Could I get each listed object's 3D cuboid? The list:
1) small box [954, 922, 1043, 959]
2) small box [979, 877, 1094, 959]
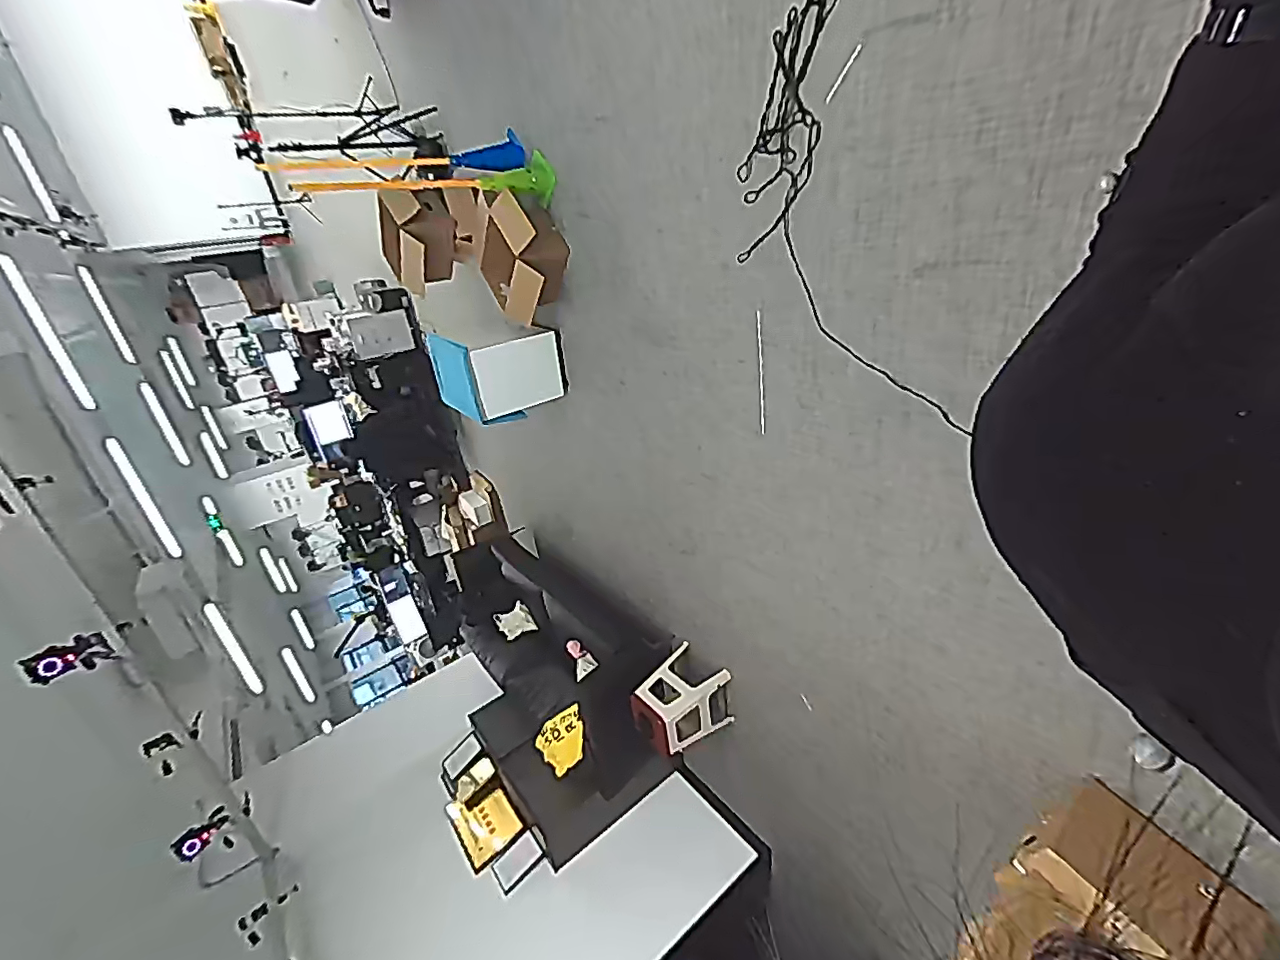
[{"bbox_3d":[0.917,1.262,1.362,0.179,0.176,0.168,43,144,33],"label":"small box"},{"bbox_3d":[1.051,1.209,1.436,0.168,0.176,0.179,42,143,35],"label":"small box"}]
